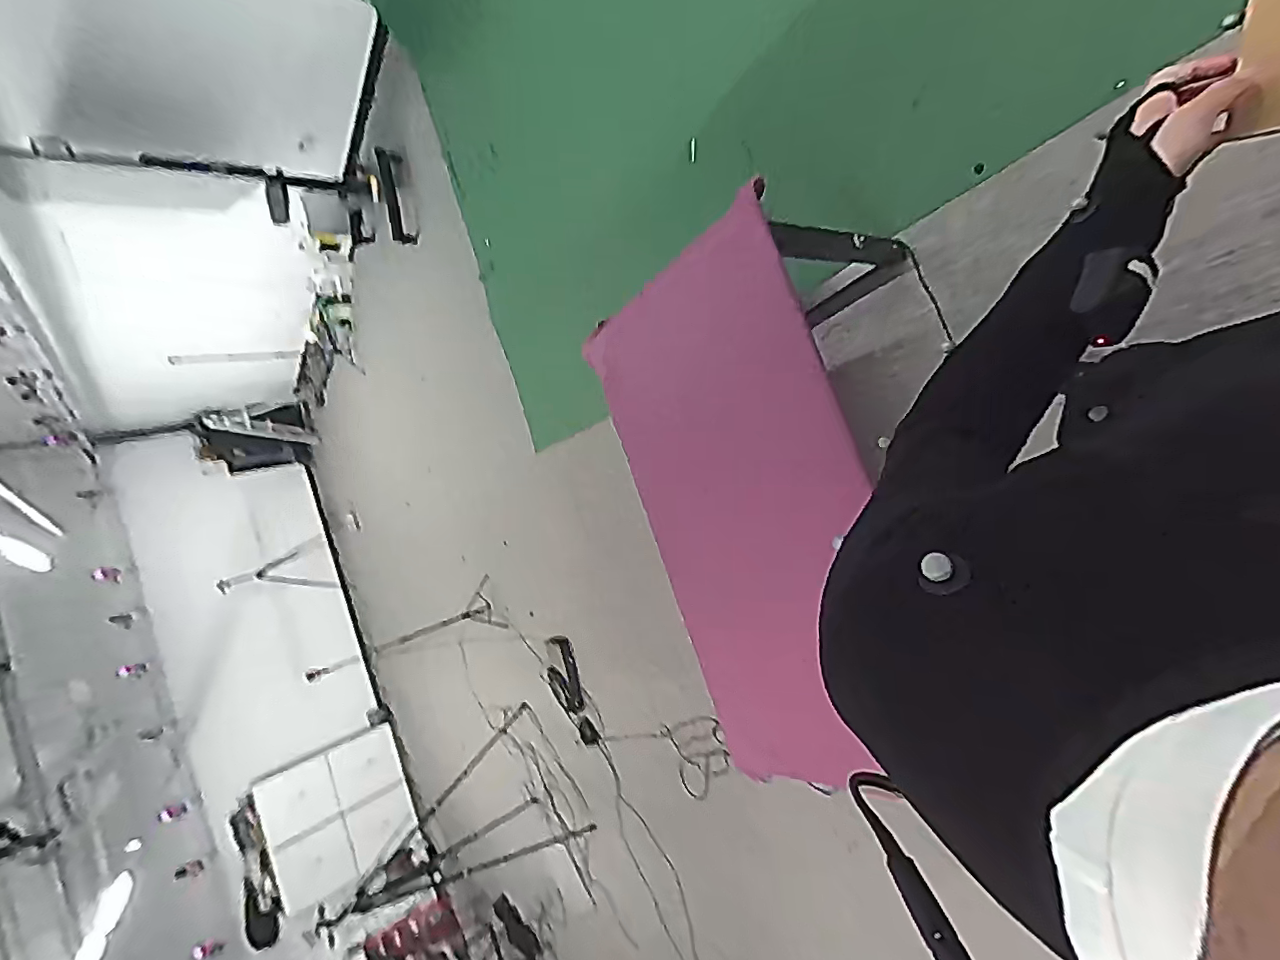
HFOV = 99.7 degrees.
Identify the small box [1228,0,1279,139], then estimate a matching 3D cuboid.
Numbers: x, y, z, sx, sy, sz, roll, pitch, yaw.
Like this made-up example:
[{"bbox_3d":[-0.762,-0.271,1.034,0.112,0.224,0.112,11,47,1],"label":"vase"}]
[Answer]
[{"bbox_3d":[0.591,-0.382,0.415,0.168,0.176,0.179,13,122,44],"label":"small box"}]
